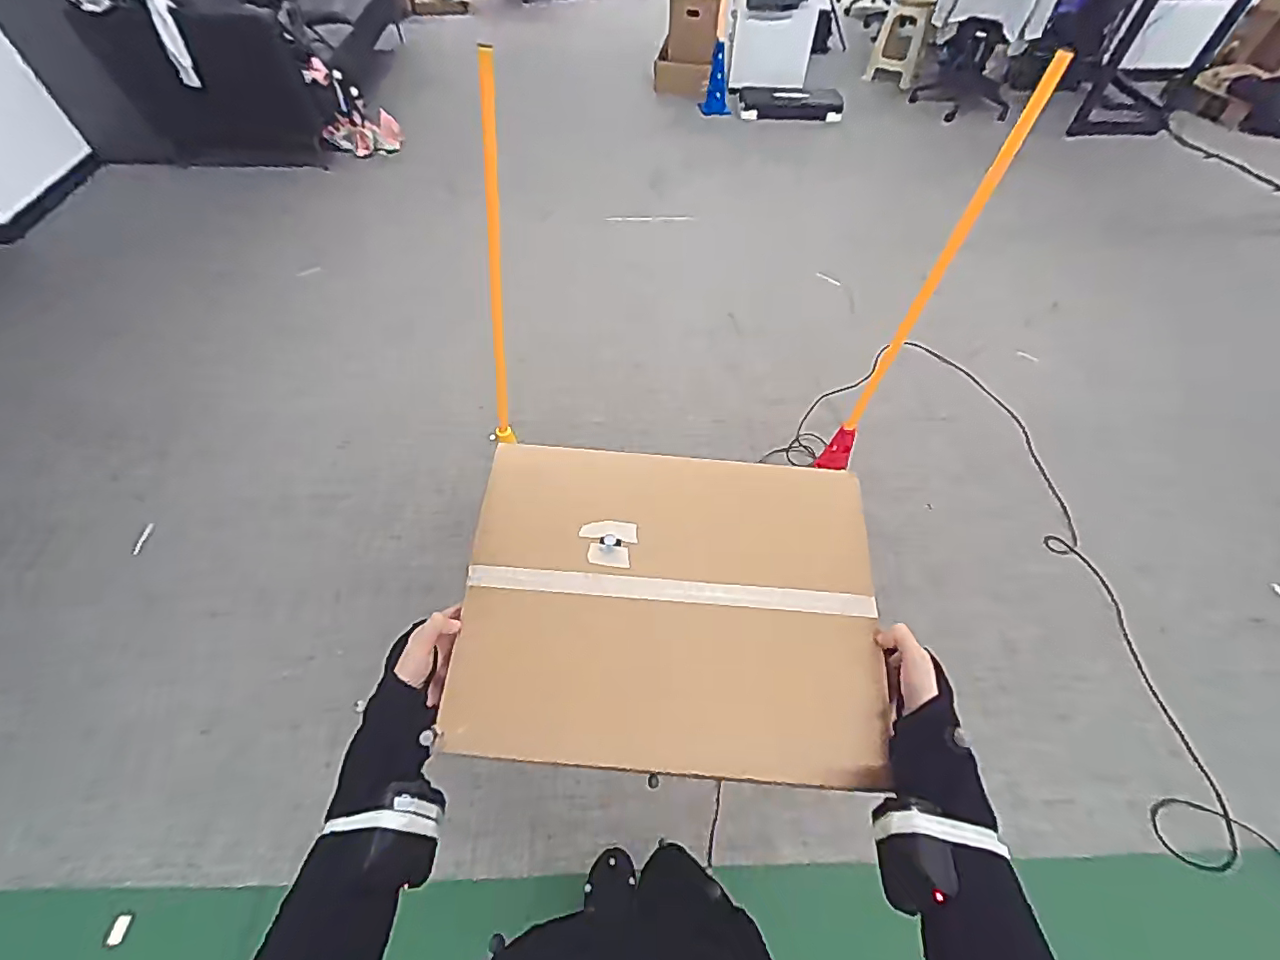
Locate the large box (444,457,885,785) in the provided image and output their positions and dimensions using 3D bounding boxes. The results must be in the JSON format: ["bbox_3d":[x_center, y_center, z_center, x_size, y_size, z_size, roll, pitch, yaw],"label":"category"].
[{"bbox_3d":[0.029,0.188,0.681,0.408,0.320,0.320,4,62,1],"label":"large box"}]
